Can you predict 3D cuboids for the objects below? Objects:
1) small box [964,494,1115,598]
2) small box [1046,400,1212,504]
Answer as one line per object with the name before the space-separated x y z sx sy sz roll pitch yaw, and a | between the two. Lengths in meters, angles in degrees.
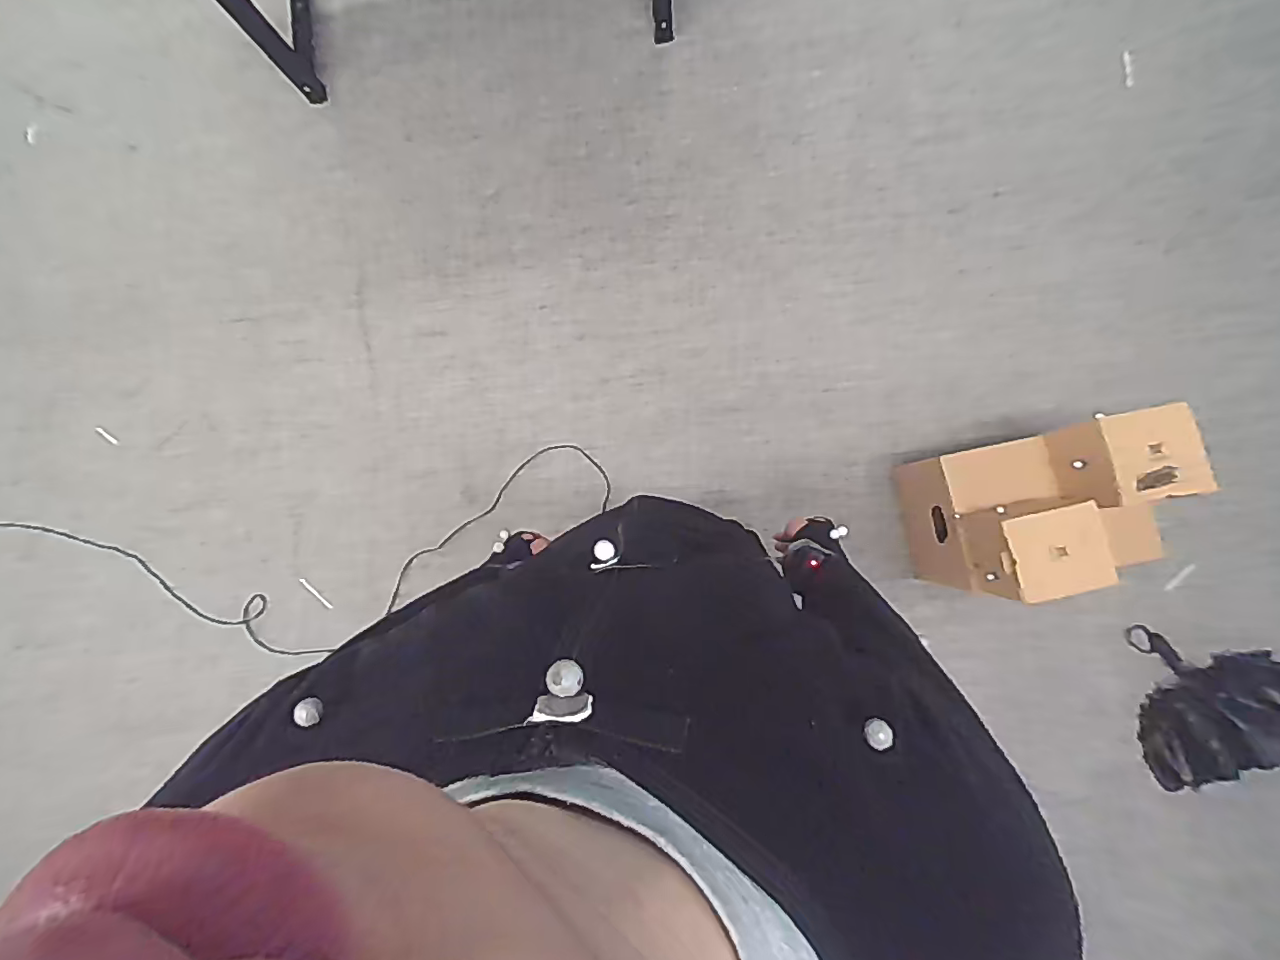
small box | 0.796 0.129 1.103 0.179 0.176 0.168 -14 88 3
small box | 0.975 -0.047 1.097 0.168 0.176 0.179 -10 82 5
